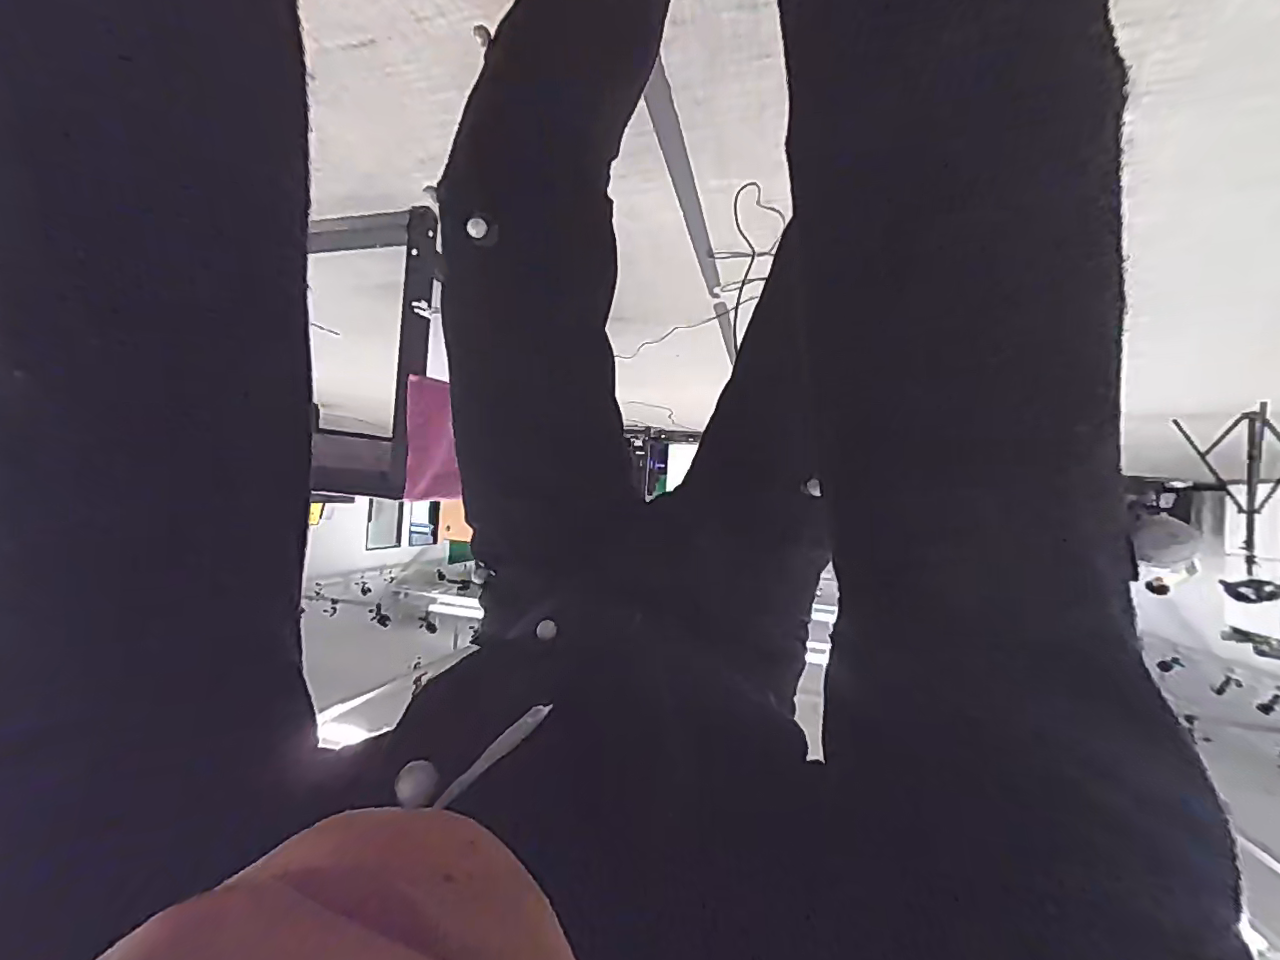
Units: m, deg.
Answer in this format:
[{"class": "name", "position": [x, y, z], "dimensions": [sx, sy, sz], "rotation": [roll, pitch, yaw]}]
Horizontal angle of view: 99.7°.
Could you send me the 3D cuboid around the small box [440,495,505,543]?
[{"class": "small box", "position": [-0.632, 0.144, 2.056], "dimensions": [0.179, 0.176, 0.168], "rotation": [2, 178, 20]}]
